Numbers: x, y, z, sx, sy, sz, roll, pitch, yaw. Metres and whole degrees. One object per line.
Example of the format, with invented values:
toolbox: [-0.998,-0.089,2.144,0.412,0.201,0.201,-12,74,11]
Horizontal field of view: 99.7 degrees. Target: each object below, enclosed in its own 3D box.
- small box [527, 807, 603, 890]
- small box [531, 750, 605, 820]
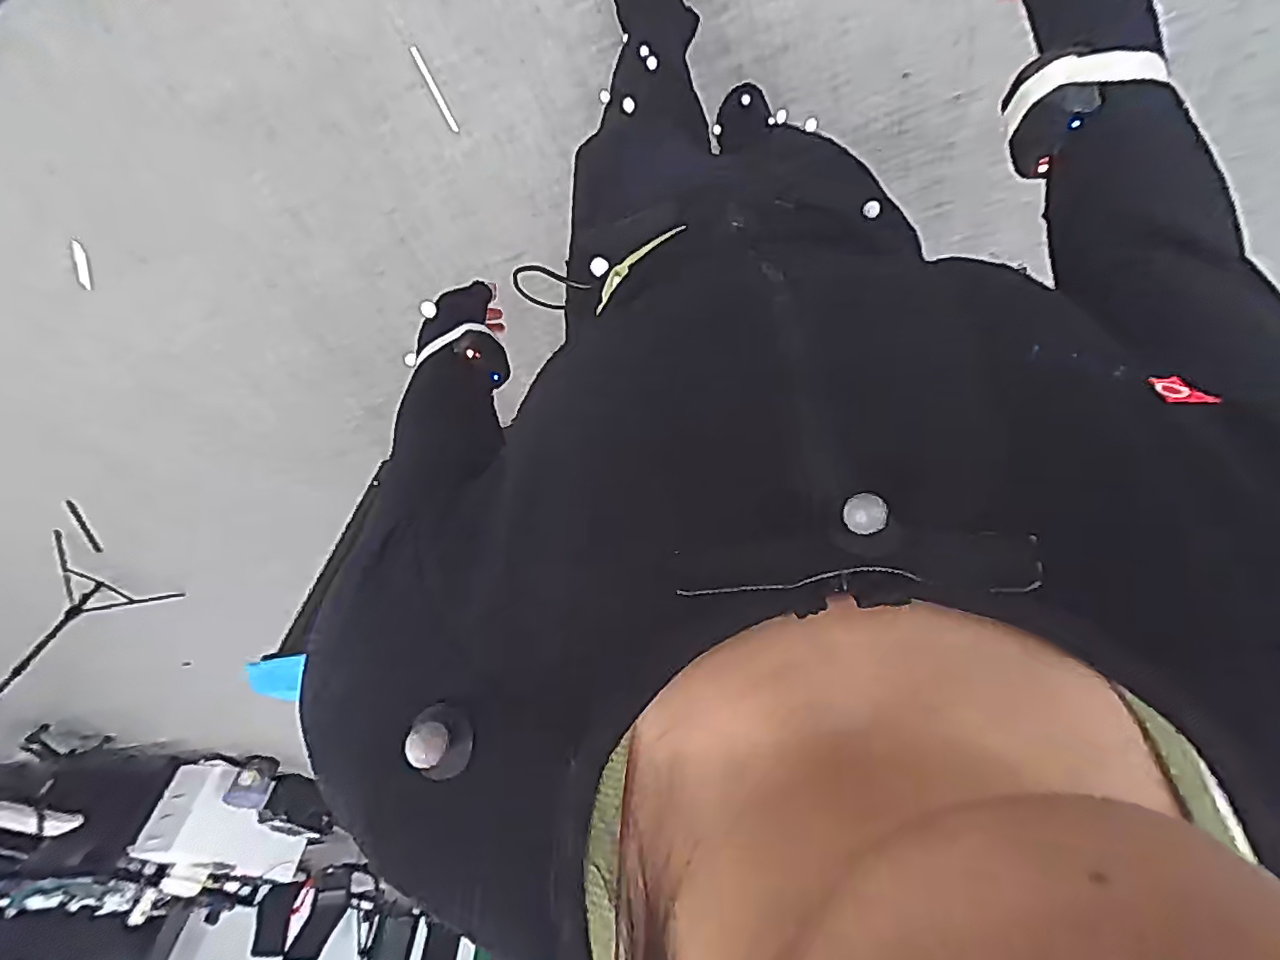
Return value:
small box: [-0.221,1.096,1.606,0.168,0.176,0.179,-14,131,17]
small box: [-0.224,0.984,1.731,0.179,0.176,0.168,-14,133,14]
